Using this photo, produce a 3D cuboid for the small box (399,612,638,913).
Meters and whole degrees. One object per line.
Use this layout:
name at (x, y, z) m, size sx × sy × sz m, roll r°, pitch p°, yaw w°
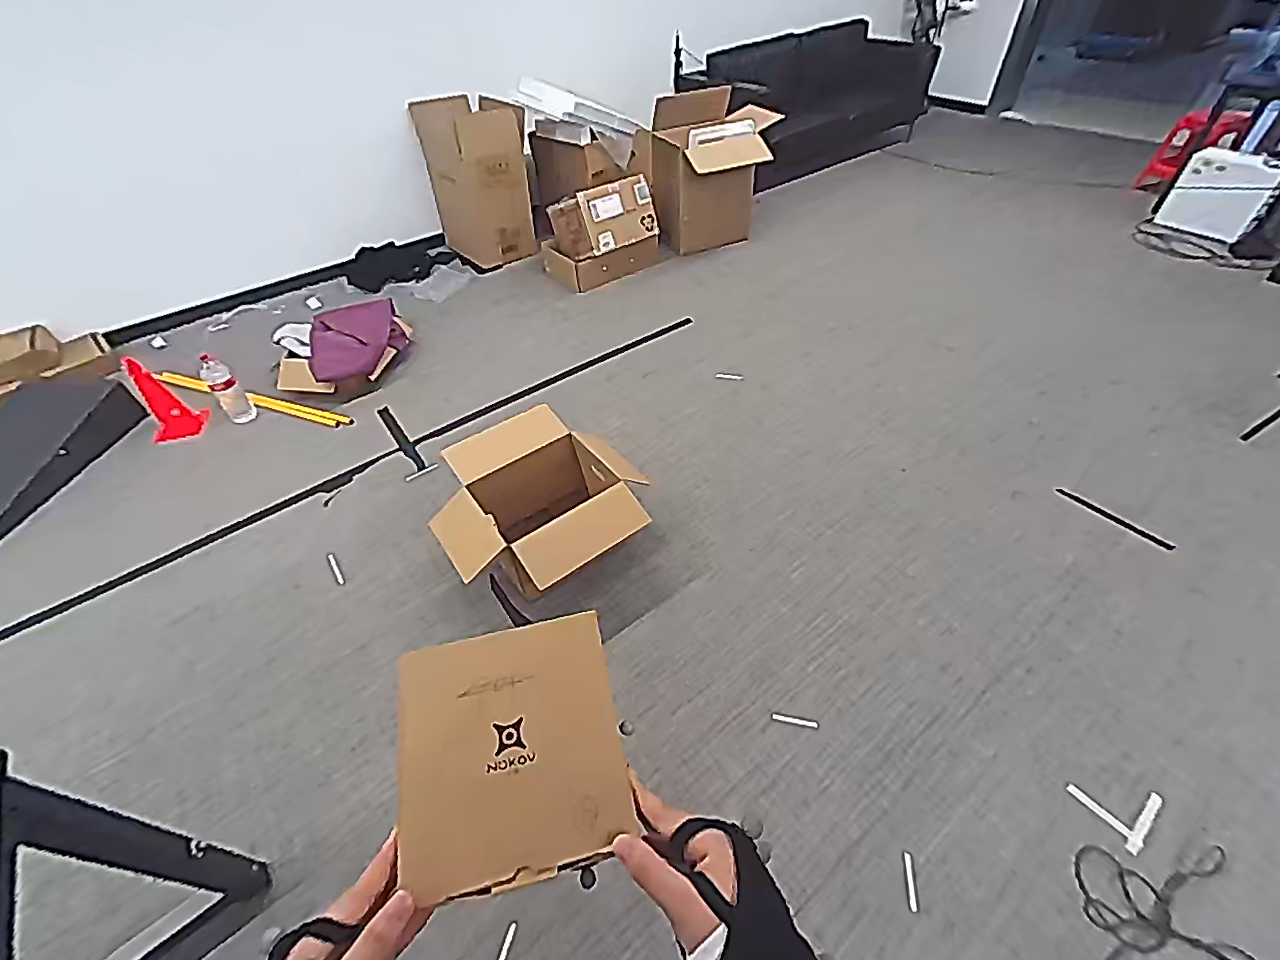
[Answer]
small box at (-0.098, 0.243, 0.475) m, size 0.168 × 0.176 × 0.179 m, roll -11°, pitch 55°, yaw -8°
